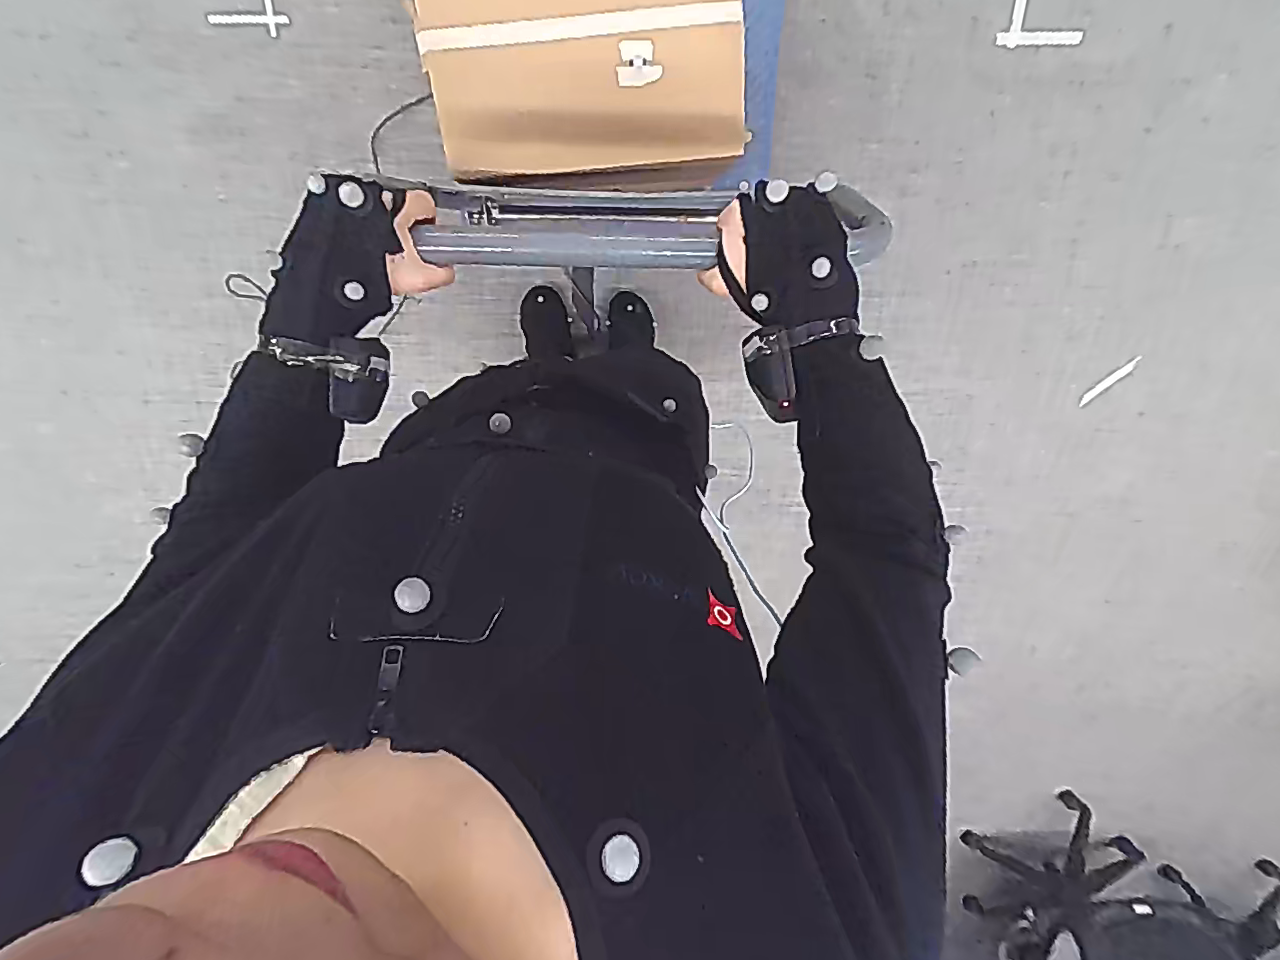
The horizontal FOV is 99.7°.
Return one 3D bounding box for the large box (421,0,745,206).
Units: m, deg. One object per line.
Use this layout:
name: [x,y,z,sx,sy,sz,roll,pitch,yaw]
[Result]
large box: [-0.077,-0.622,0.820,0.408,0.320,0.320,-6,113,-1]
